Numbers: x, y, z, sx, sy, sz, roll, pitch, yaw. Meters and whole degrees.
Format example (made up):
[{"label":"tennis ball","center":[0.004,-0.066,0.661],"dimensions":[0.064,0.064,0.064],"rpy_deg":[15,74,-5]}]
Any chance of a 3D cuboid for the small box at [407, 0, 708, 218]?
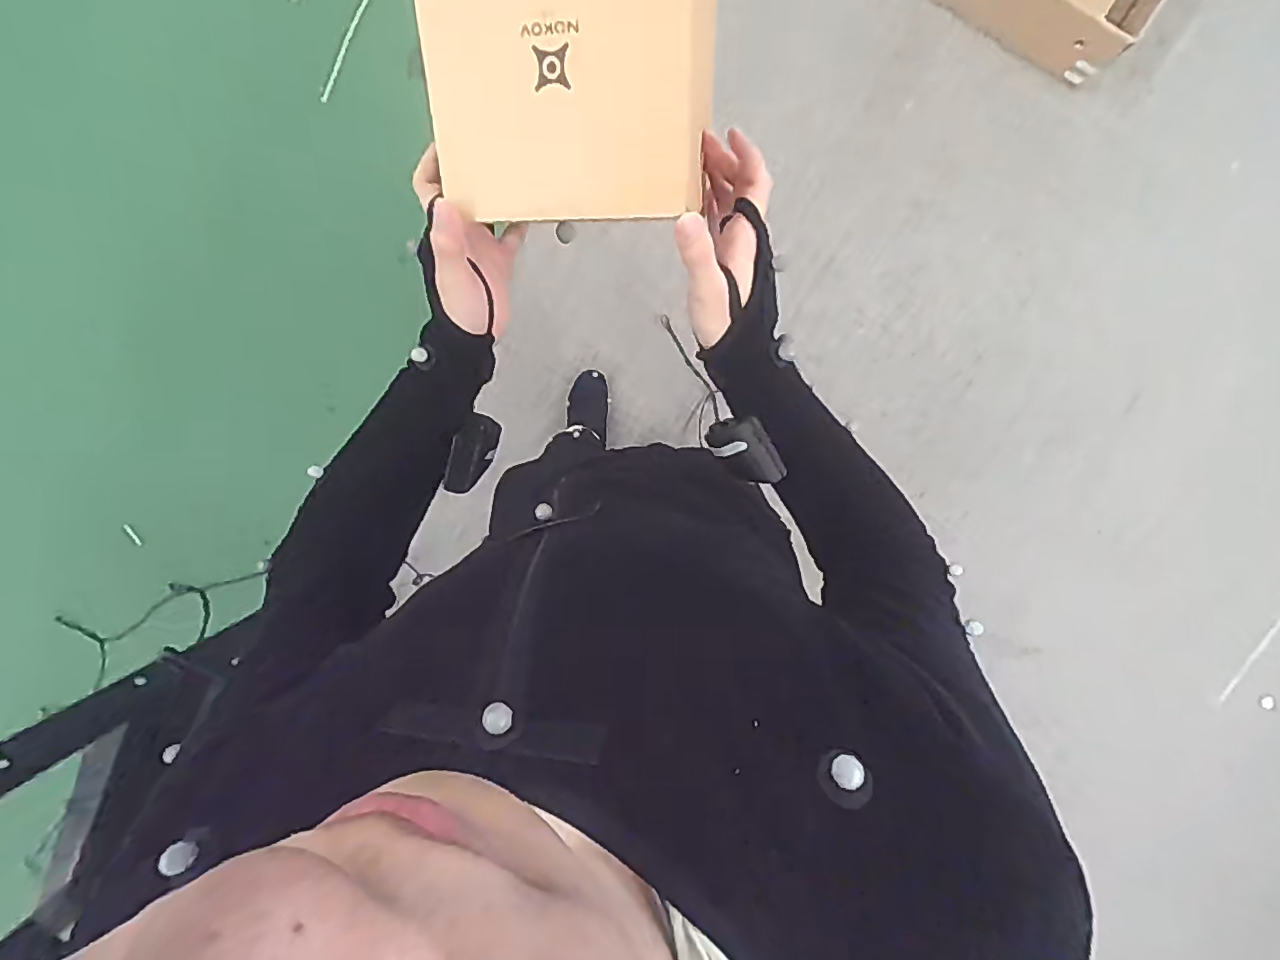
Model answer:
[{"label":"small box","center":[-0.041,-0.286,0.388],"dimensions":[0.168,0.176,0.179],"rpy_deg":[4,114,11]}]
